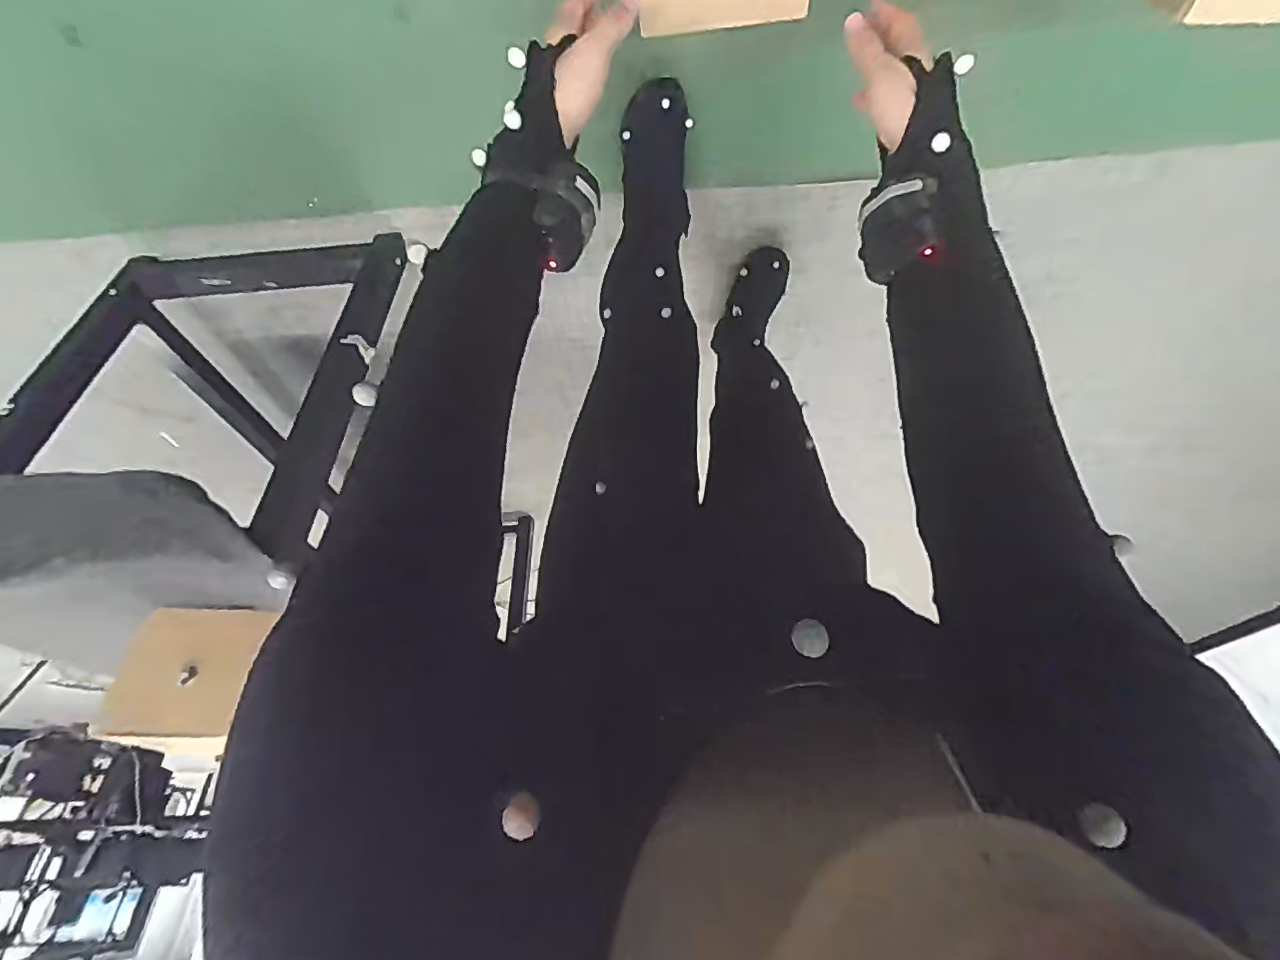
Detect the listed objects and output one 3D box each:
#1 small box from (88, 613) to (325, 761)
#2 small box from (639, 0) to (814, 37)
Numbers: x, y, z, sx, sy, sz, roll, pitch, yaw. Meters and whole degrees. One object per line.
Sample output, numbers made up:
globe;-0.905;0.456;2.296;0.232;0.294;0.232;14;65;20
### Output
small box;-0.596;0.297;0.775;0.179;0.176;0.168;1;147;-1
small box;0.080;-0.579;0.535;0.179;0.176;0.168;-4;145;4
